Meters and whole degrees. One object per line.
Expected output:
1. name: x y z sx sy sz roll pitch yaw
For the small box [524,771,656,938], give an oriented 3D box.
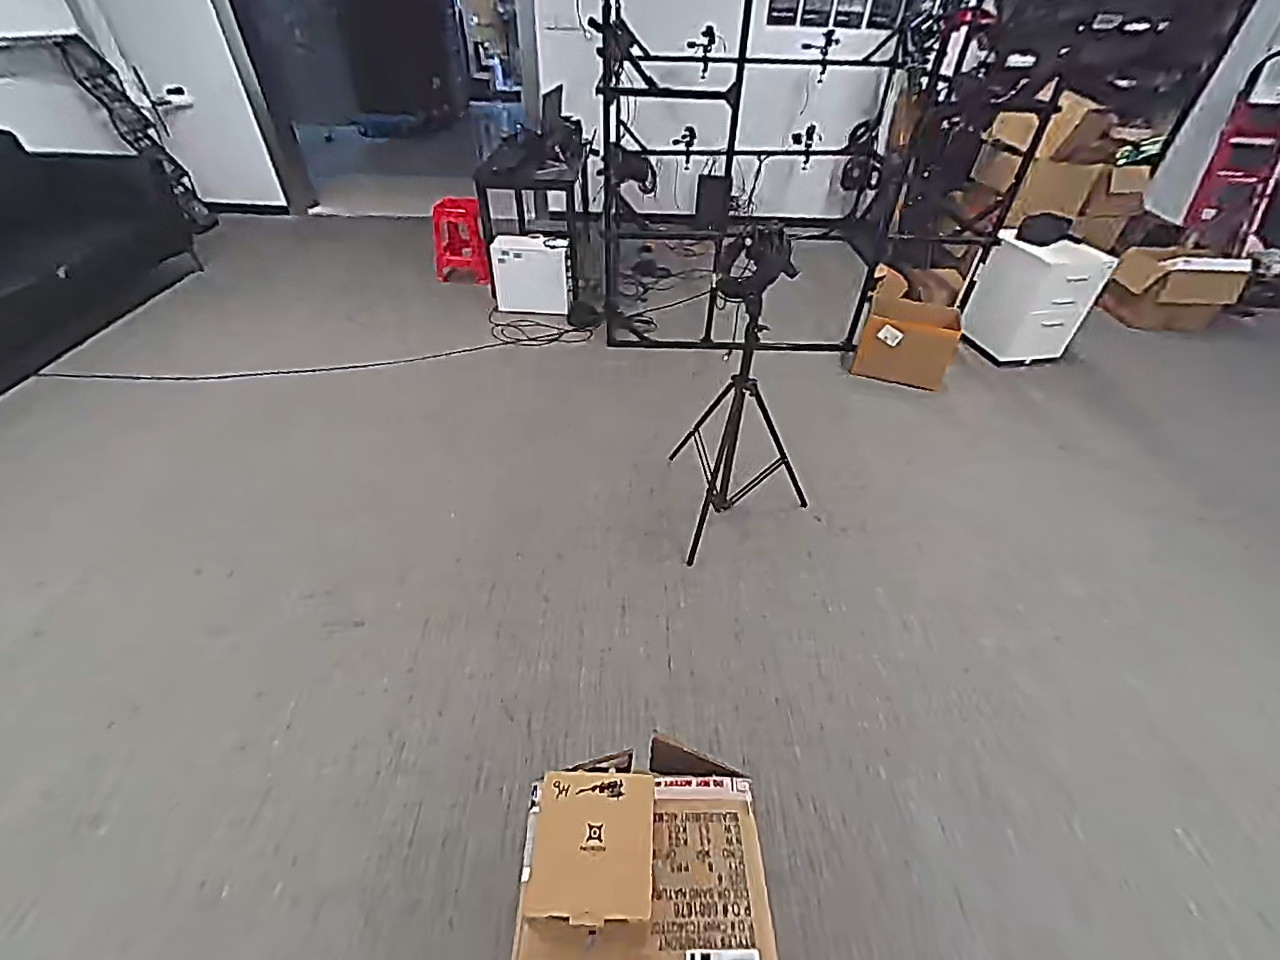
1. small box: -0.061 0.552 0.795 0.168 0.176 0.179 1 44 2
